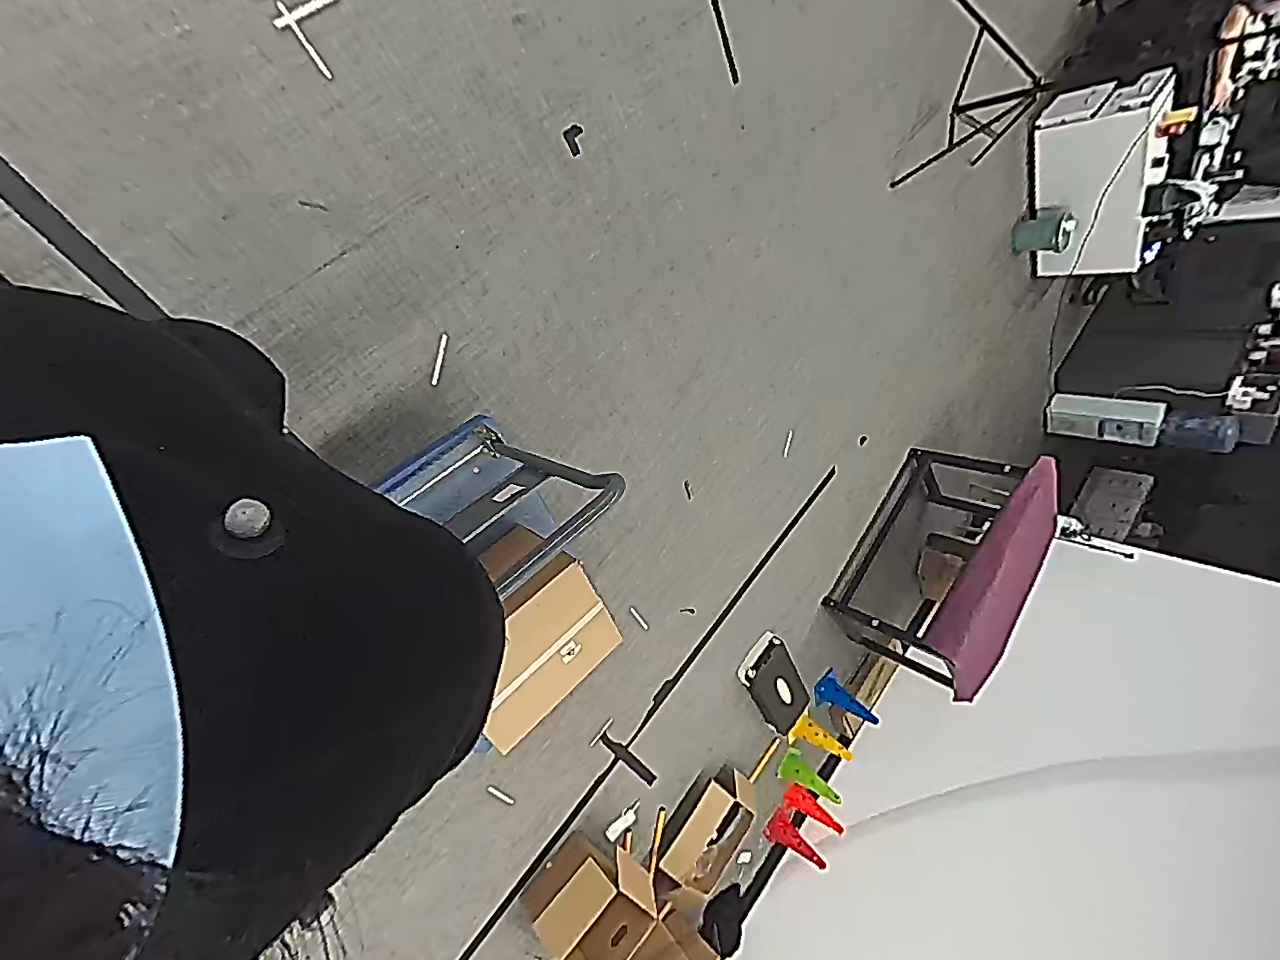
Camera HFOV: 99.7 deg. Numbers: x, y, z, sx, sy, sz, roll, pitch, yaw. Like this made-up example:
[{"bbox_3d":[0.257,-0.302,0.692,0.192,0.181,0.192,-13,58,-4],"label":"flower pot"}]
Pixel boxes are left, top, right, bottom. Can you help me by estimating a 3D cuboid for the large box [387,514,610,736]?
[{"bbox_3d":[-0.364,0.356,1.416,0.408,0.320,0.320,-41,127,-25],"label":"large box"}]
